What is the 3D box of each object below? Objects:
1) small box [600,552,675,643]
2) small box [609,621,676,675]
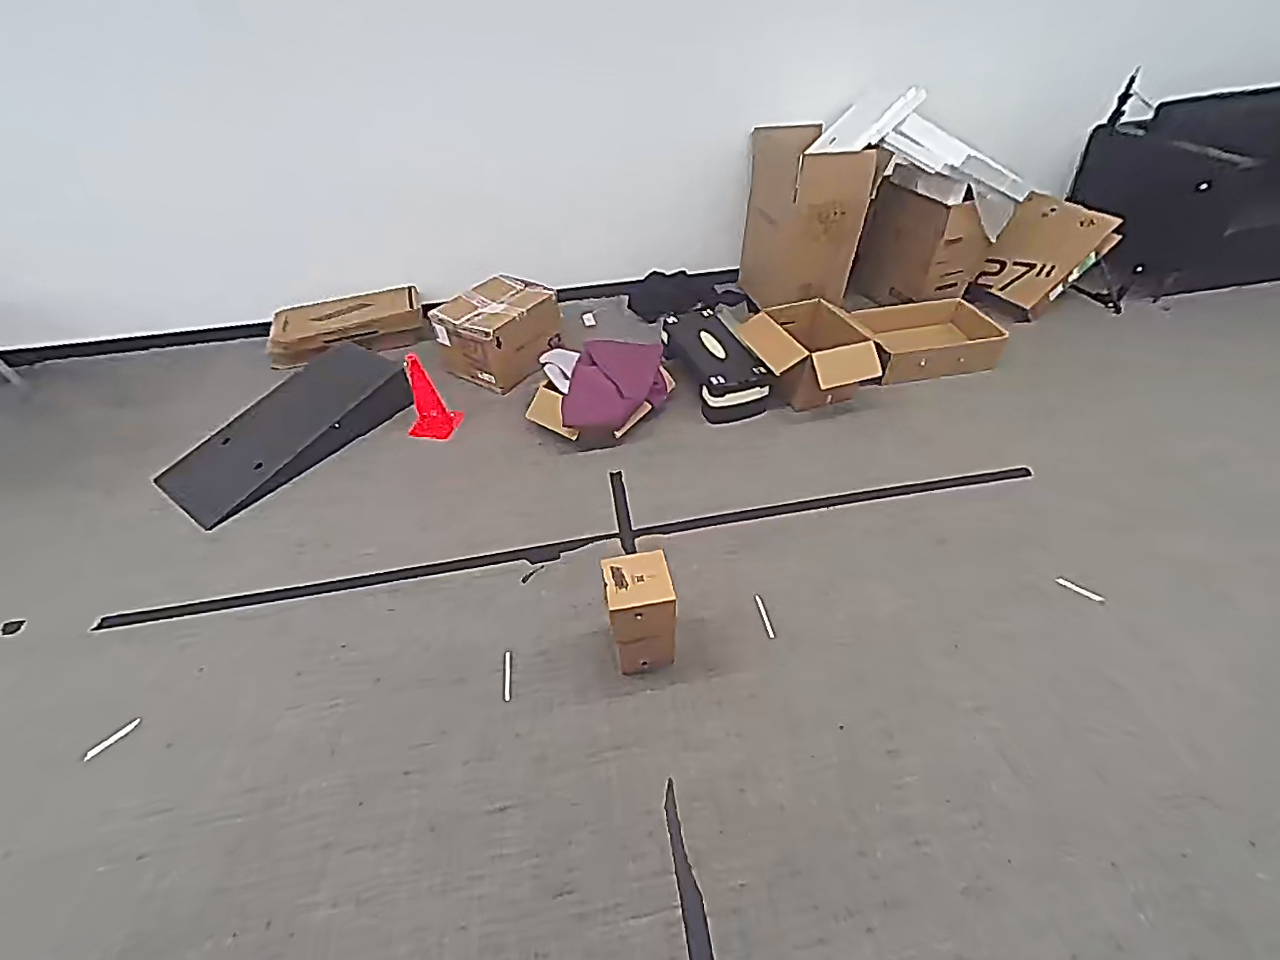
[{"bbox_3d":[-0.004,0.323,1.472,0.179,0.176,0.168,-9,45,-6],"label":"small box"},{"bbox_3d":[0.003,0.441,1.586,0.168,0.176,0.179,-13,46,-9],"label":"small box"}]
